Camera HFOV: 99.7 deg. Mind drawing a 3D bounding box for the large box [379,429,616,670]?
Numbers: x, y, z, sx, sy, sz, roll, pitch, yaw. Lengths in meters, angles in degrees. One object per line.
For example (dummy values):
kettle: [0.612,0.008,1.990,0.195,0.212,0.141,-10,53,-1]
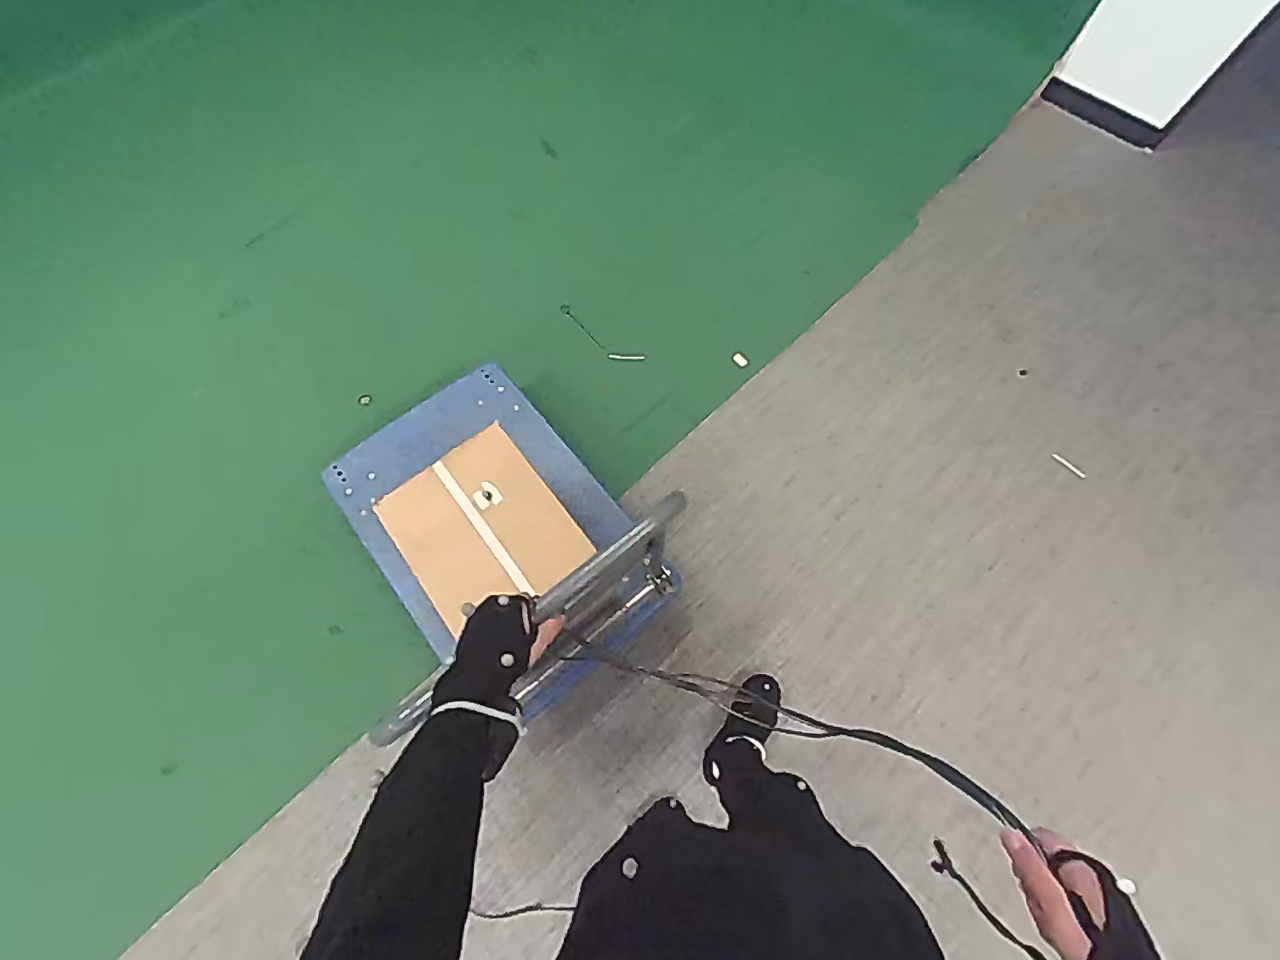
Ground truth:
large box: [-0.302,0.171,1.240,0.320,0.320,0.408,-36,71,-13]
